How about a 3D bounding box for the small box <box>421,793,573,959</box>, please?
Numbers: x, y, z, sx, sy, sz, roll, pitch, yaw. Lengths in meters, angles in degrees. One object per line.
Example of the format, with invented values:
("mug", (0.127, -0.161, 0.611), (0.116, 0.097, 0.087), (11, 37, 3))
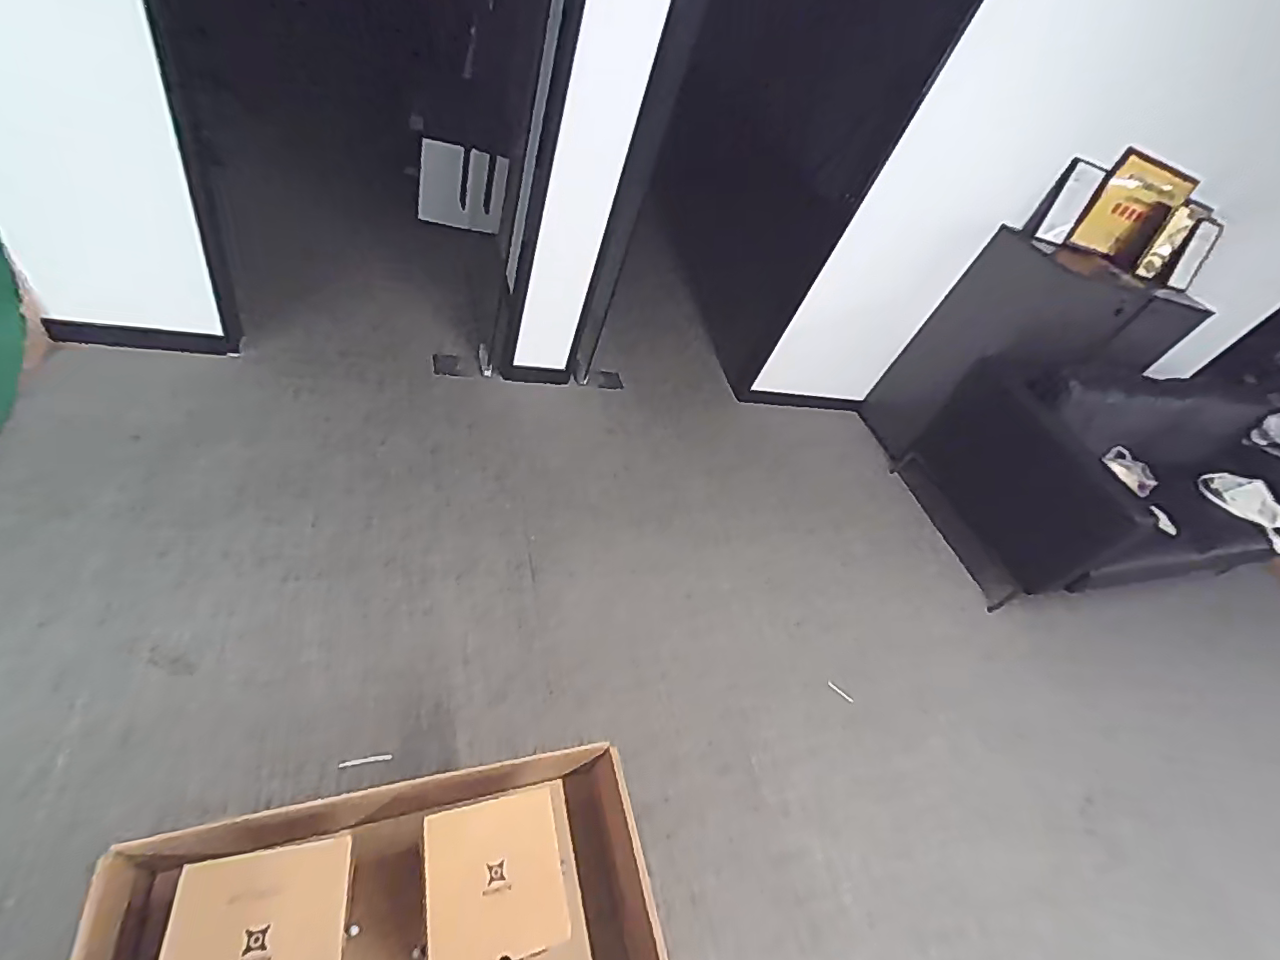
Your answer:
("small box", (-0.202, 0.552, 0.723), (0.168, 0.176, 0.179), (0, 50, -24))
